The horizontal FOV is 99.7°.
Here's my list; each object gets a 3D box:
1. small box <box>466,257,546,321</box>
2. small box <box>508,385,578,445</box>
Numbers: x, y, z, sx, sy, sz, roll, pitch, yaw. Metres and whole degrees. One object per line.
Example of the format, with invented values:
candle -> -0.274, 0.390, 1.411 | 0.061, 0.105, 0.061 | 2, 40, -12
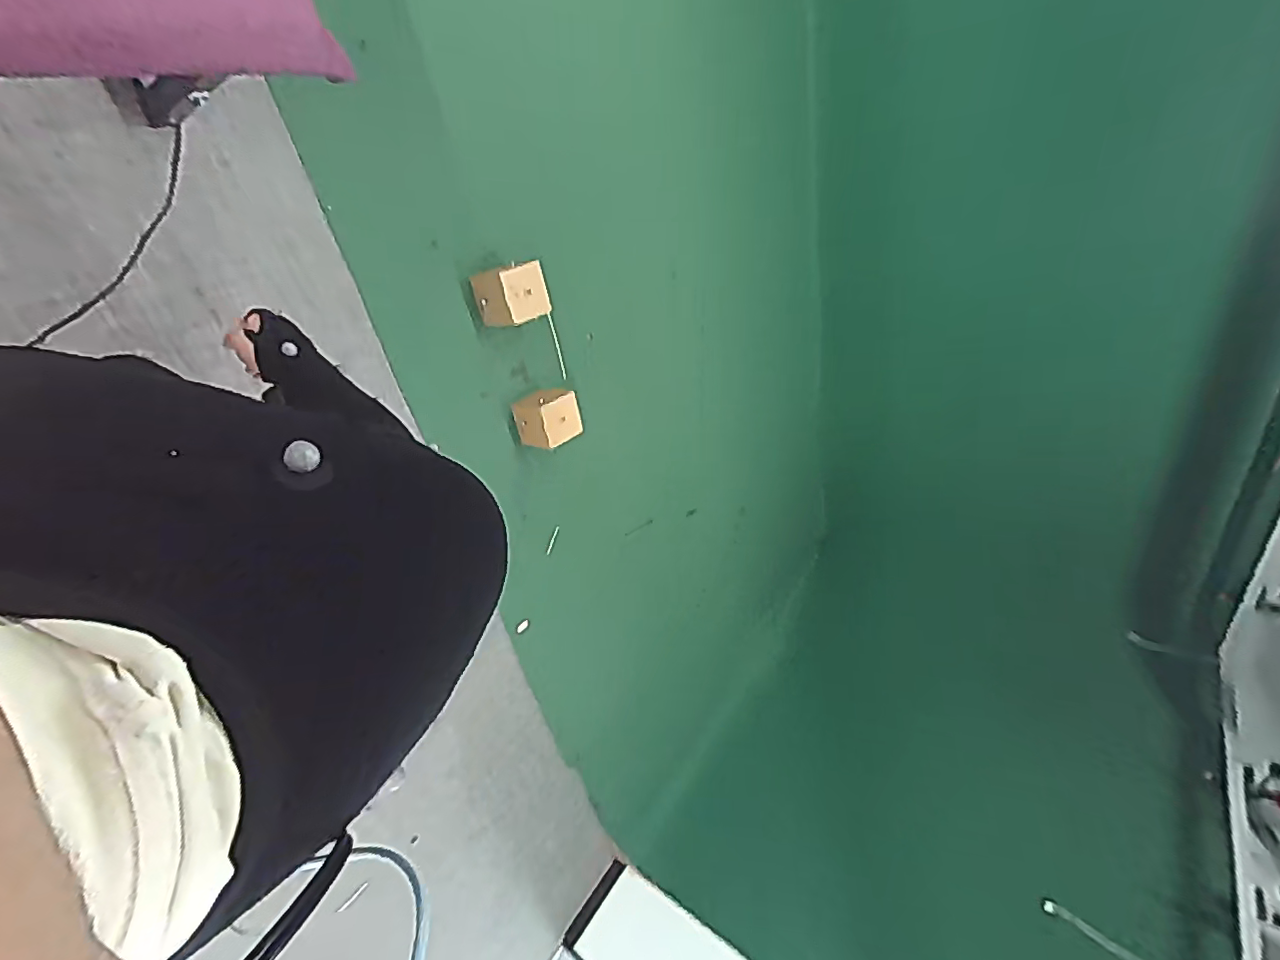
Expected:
small box -> -0.449, -0.642, 1.817 | 0.179, 0.176, 0.168 | -39, 128, -39
small box -> -0.366, -0.252, 2.040 | 0.179, 0.176, 0.168 | -37, 128, -39
